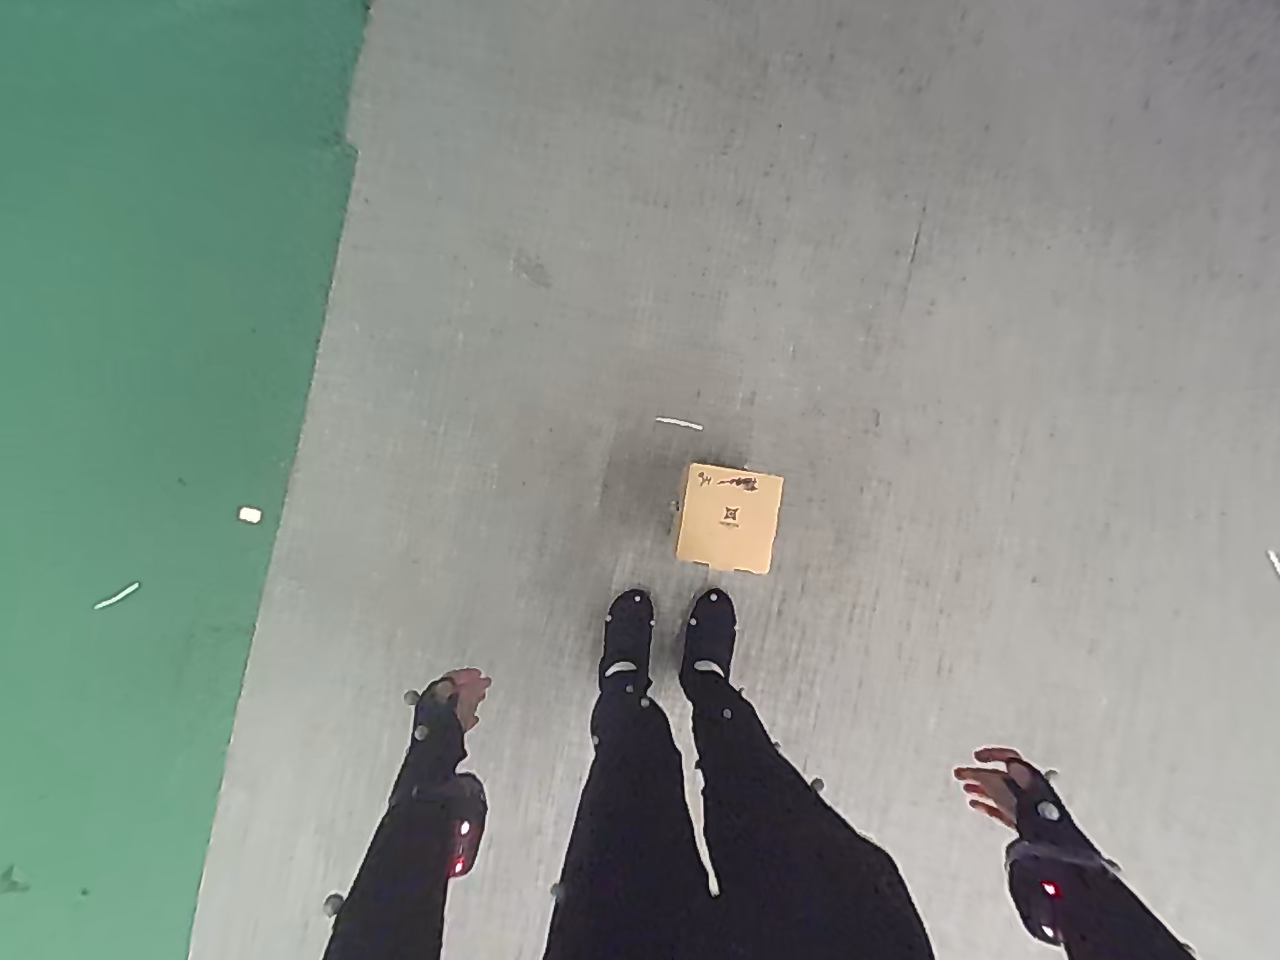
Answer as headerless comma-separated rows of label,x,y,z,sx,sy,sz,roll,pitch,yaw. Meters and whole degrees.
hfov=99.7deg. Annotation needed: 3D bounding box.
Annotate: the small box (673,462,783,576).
small box,0.156,0.067,1.015,0.168,0.176,0.179,10,90,1
